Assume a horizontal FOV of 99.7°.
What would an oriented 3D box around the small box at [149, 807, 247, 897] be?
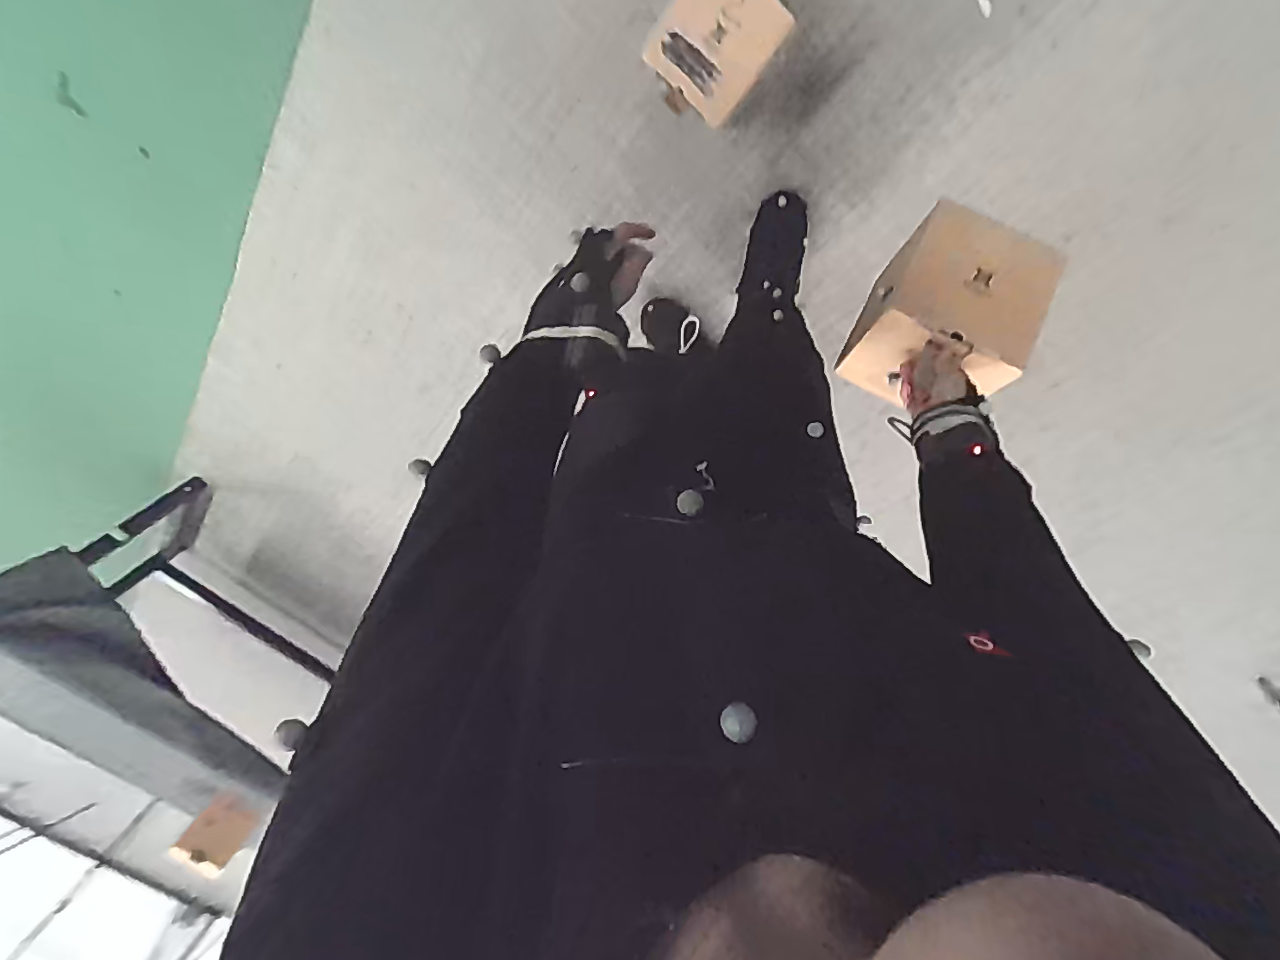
[{"bbox_3d":[-1.363,1.148,1.674,0.168,0.176,0.179,37,126,-9],"label":"small box"}]
